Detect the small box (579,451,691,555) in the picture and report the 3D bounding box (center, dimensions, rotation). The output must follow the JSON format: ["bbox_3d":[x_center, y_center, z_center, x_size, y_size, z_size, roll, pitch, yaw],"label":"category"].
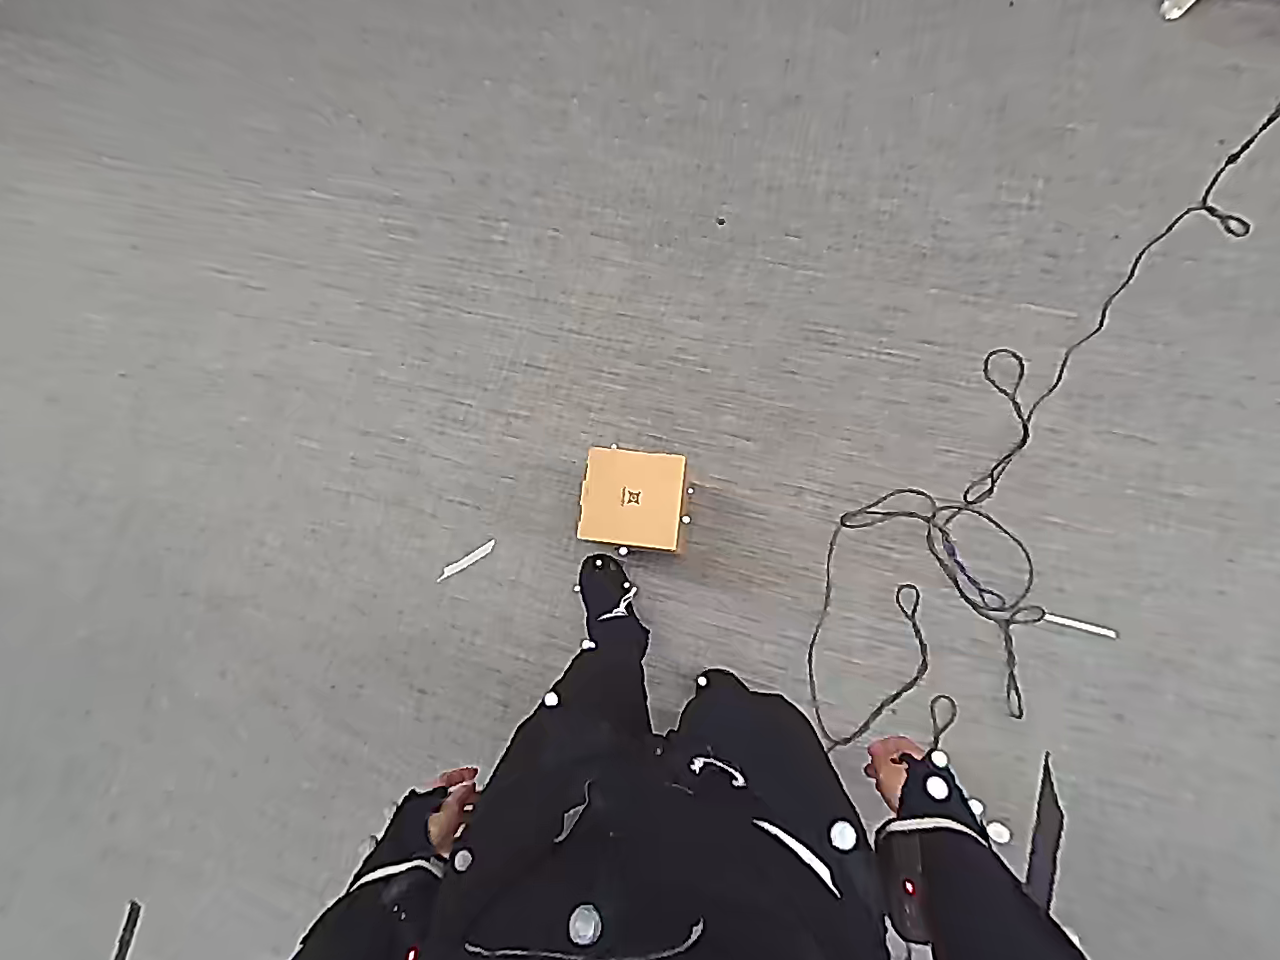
[{"bbox_3d":[0.000,0.049,1.004,0.179,0.176,0.168,5,81,9],"label":"small box"}]
